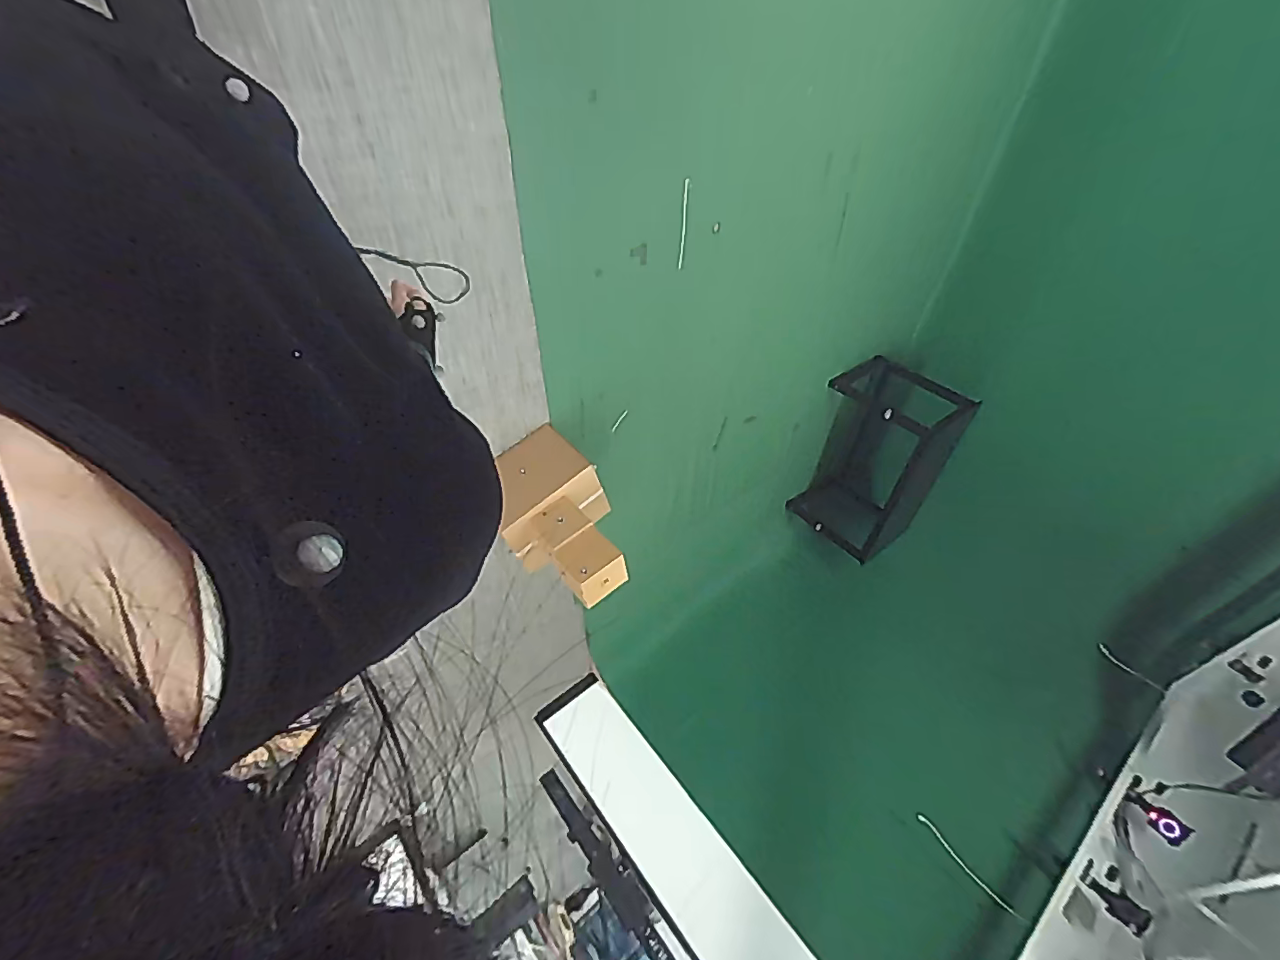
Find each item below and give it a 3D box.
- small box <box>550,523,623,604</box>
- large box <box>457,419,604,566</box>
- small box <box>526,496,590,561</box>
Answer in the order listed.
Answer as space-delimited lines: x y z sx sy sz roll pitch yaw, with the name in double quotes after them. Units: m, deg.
-0.180 0.278 1.835 0.179 0.176 0.168 -34 145 -20 "small box"
-0.412 0.044 2.081 0.408 0.320 0.320 -39 148 -16 "large box"
-0.280 0.180 1.918 0.168 0.176 0.179 -34 145 -20 "small box"
